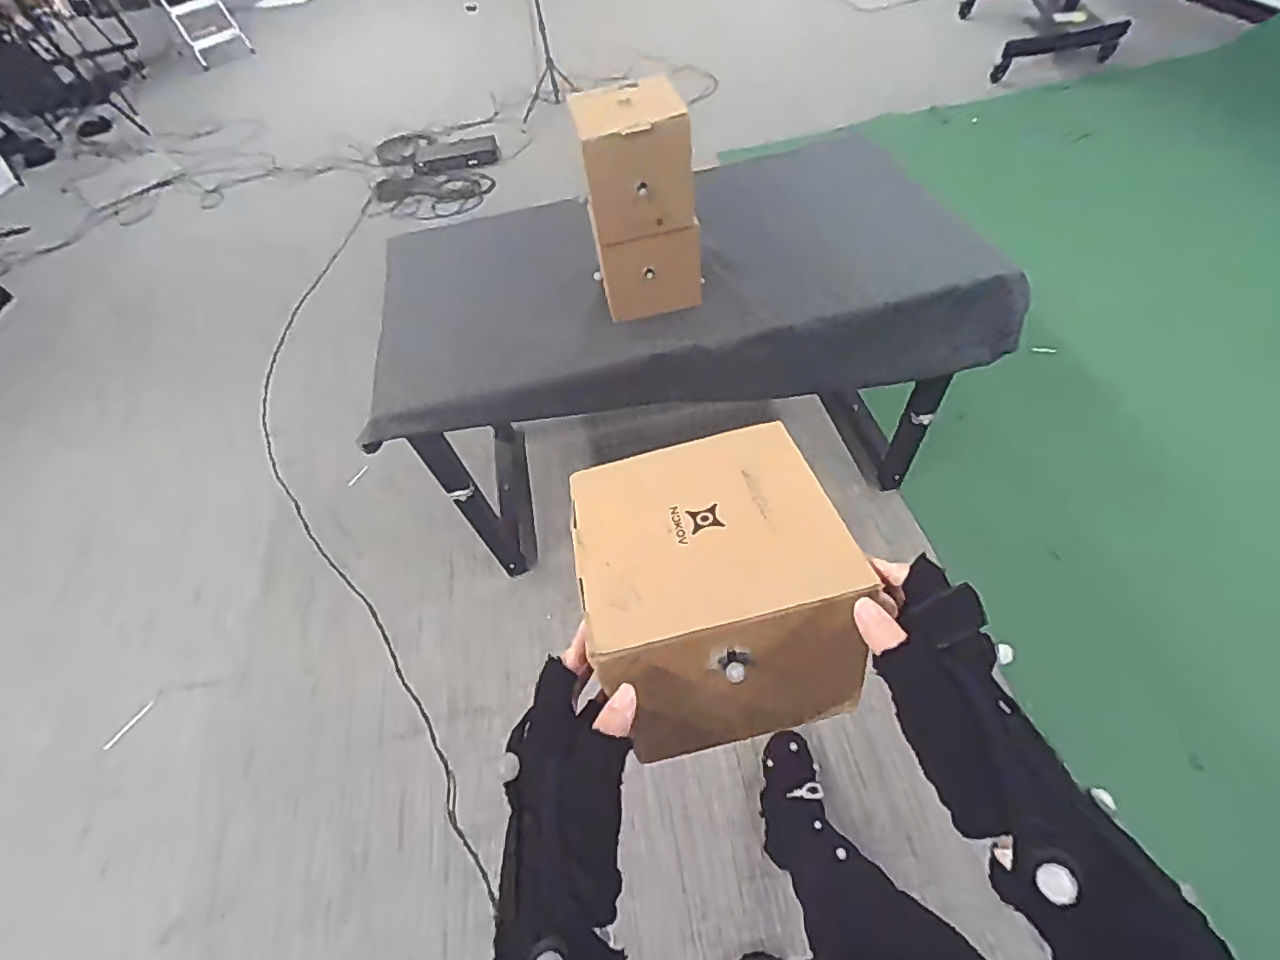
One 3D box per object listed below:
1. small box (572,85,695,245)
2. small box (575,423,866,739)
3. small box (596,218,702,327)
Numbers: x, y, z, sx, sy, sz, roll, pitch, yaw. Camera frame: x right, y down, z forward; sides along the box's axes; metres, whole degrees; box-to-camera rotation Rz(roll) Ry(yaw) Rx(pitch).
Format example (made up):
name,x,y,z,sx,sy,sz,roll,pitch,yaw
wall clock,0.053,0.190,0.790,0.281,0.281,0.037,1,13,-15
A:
name,x,y,z,sx,sy,sz,roll,pitch,yaw
small box,-0.007,-0.514,0.901,0.168,0.176,0.179,-13,54,-1
small box,0.057,0.084,0.440,0.179,0.176,0.168,-14,42,-2
small box,0.016,-0.421,1.033,0.179,0.176,0.168,-12,54,0
